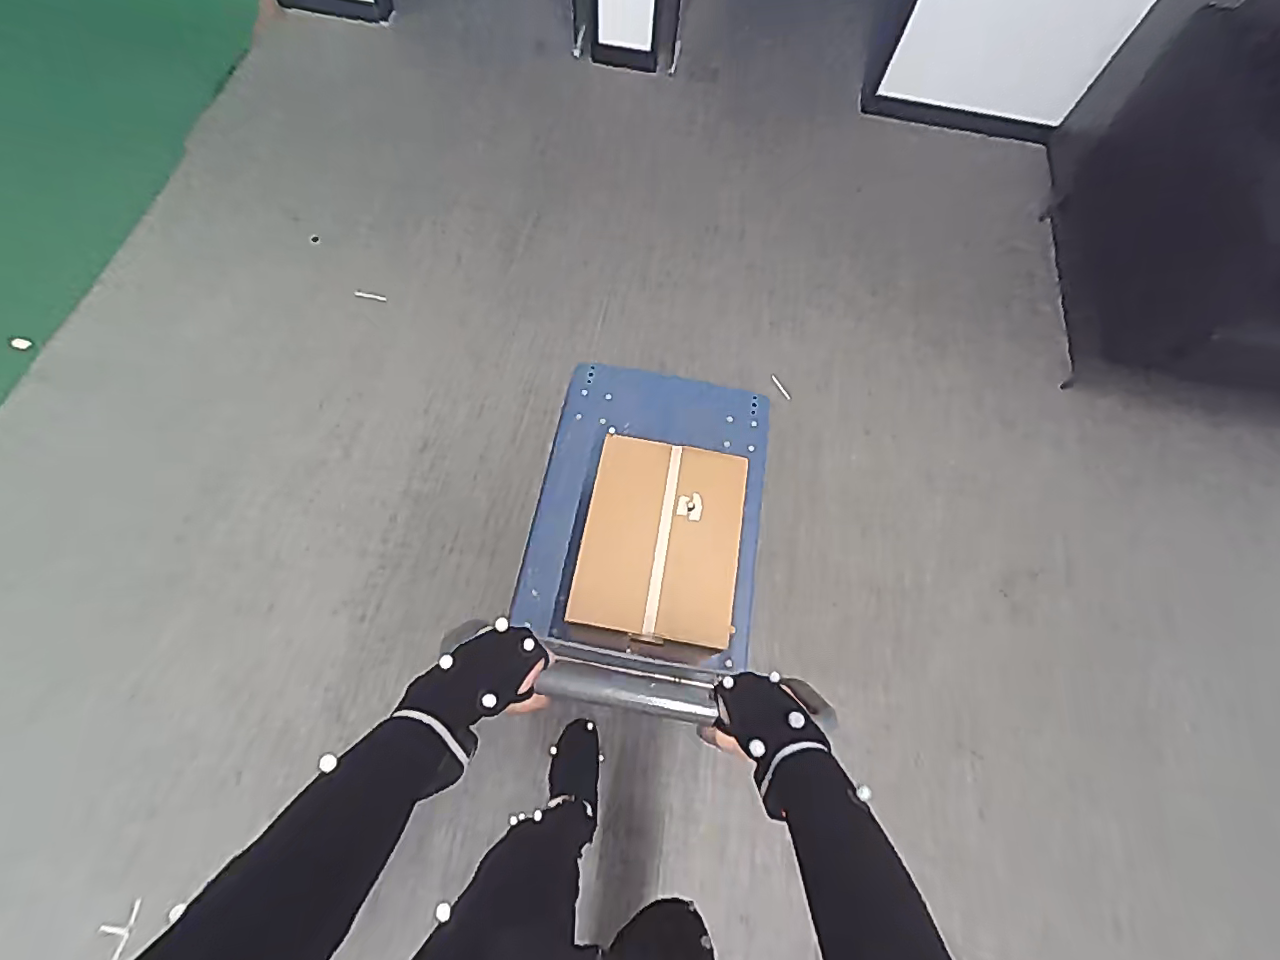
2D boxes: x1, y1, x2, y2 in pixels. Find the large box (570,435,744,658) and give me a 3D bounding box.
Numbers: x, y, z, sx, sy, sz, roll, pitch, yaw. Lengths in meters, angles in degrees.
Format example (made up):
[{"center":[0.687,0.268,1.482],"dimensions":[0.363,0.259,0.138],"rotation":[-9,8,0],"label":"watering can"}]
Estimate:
[{"center":[0.038,0.165,1.227],"dimensions":[0.320,0.320,0.408],"rotation":[11,66,0],"label":"large box"}]
